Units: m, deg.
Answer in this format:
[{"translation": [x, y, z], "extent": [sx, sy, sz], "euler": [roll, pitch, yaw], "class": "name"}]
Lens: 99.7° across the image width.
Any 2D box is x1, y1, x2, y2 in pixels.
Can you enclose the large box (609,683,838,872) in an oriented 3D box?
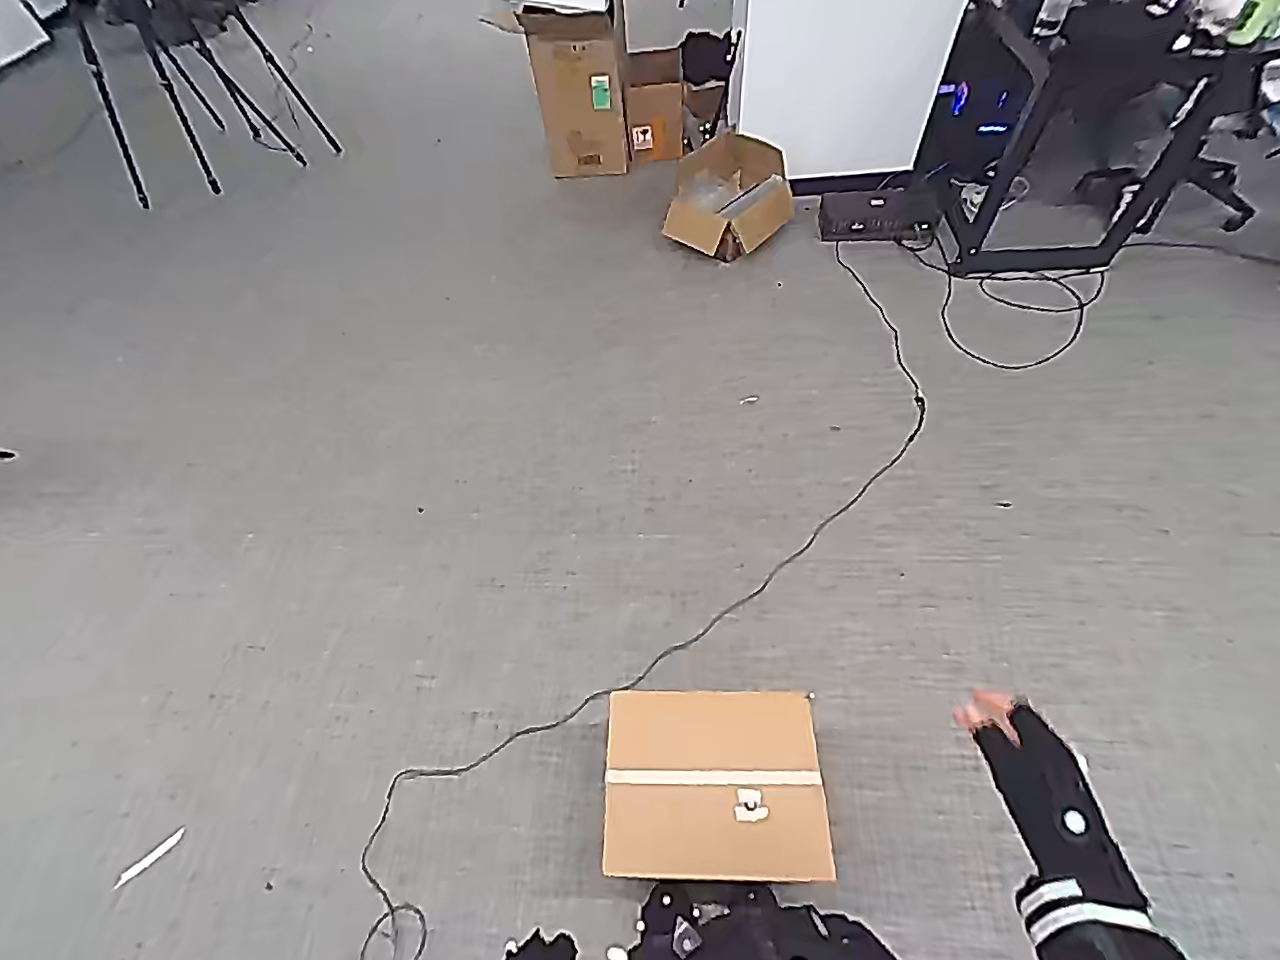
[{"translation": [0.152, 0.630, 1.139], "extent": [0.408, 0.320, 0.320], "euler": [-1, 56, 4], "class": "large box"}]
